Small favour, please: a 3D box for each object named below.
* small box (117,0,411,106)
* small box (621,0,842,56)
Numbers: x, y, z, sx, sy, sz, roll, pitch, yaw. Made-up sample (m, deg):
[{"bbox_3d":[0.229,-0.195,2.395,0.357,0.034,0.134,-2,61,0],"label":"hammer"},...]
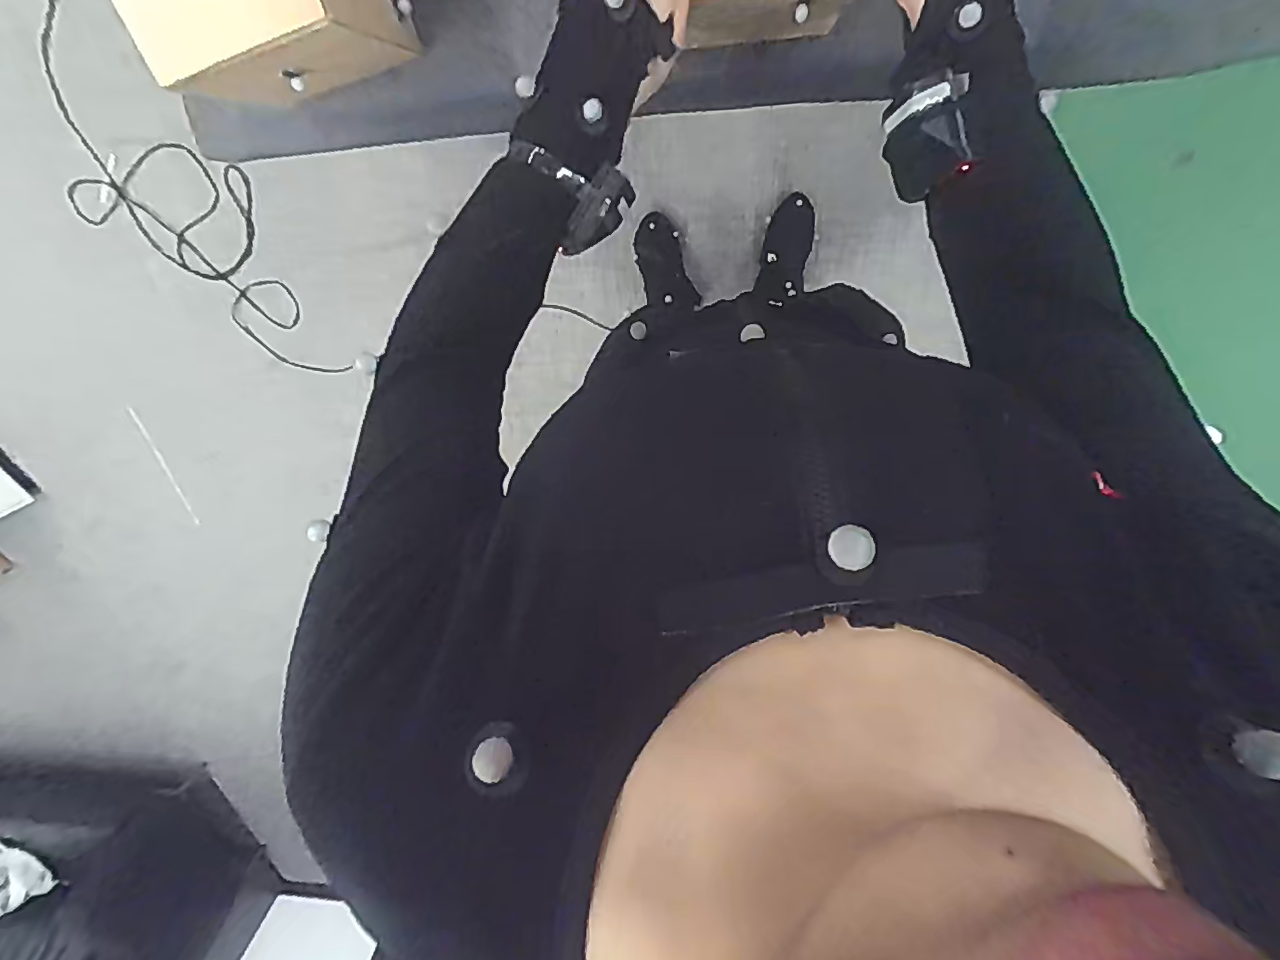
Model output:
[{"bbox_3d":[-0.333,-0.454,0.478,0.179,0.176,0.168,-9,119,13],"label":"small box"},{"bbox_3d":[0.079,-0.455,0.422,0.179,0.176,0.168,0,119,9],"label":"small box"}]
